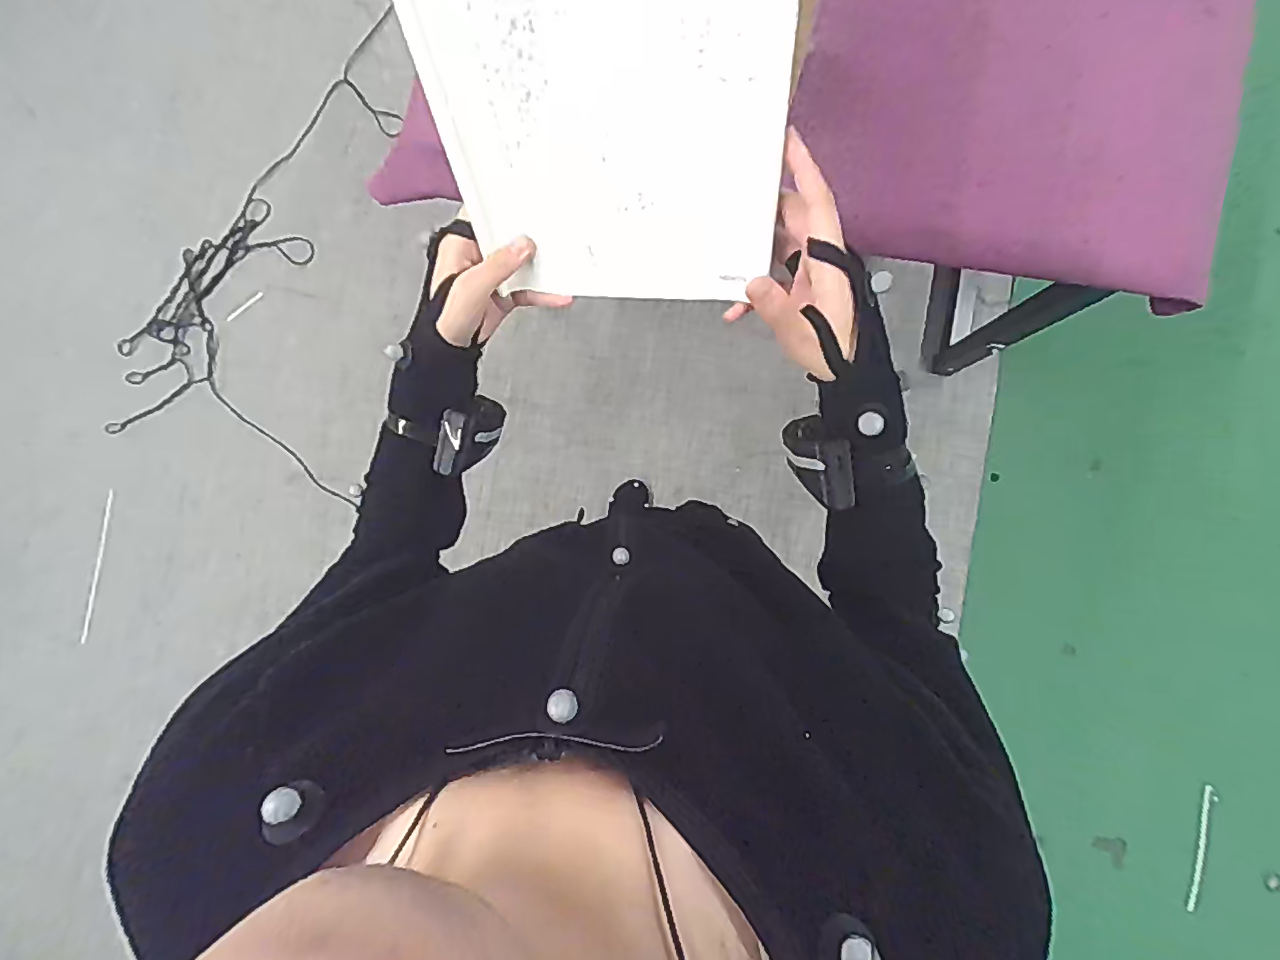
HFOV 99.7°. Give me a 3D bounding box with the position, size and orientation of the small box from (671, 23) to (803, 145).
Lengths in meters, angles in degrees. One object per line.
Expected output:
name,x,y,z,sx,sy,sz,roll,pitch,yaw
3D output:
small box,0.143,-0.606,0.751,0.168,0.176,0.179,12,88,5

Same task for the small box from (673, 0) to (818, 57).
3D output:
small box,0.129,-0.610,0.586,0.168,0.176,0.179,12,86,5
